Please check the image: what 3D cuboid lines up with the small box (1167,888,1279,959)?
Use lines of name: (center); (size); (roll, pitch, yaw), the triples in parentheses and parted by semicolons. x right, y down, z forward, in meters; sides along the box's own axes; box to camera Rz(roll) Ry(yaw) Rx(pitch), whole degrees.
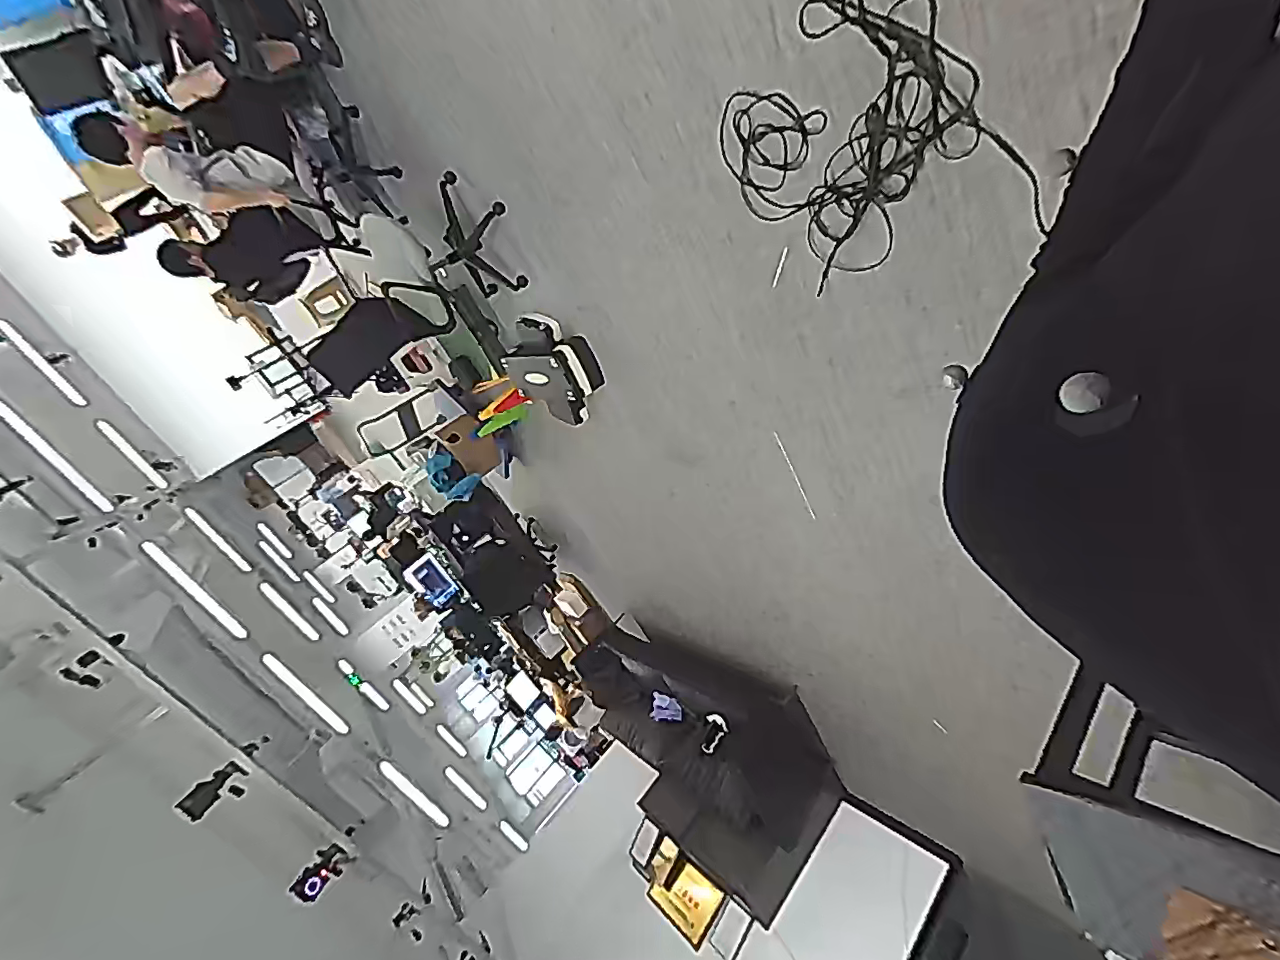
small box: (1.145, 0.942, 1.036); (0.168, 0.176, 0.179); (3, 130, 55)
